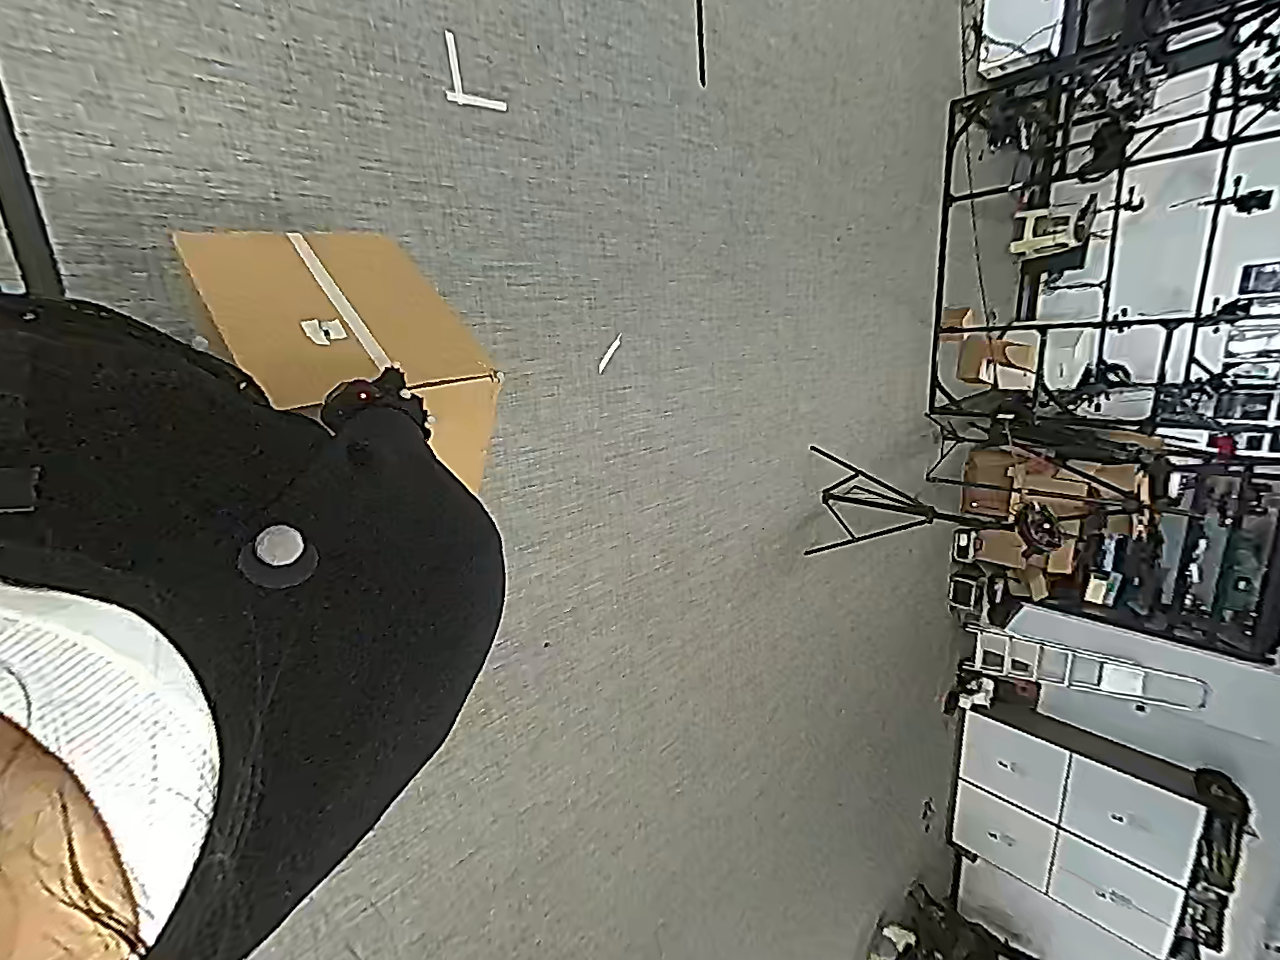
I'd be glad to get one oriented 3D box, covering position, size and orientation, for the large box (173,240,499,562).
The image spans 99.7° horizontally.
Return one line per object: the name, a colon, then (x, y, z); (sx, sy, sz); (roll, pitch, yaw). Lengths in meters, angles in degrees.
large box: (-0.497, -0.146, 0.899); (0.320, 0.408, 0.320); (-21, 151, -40)
